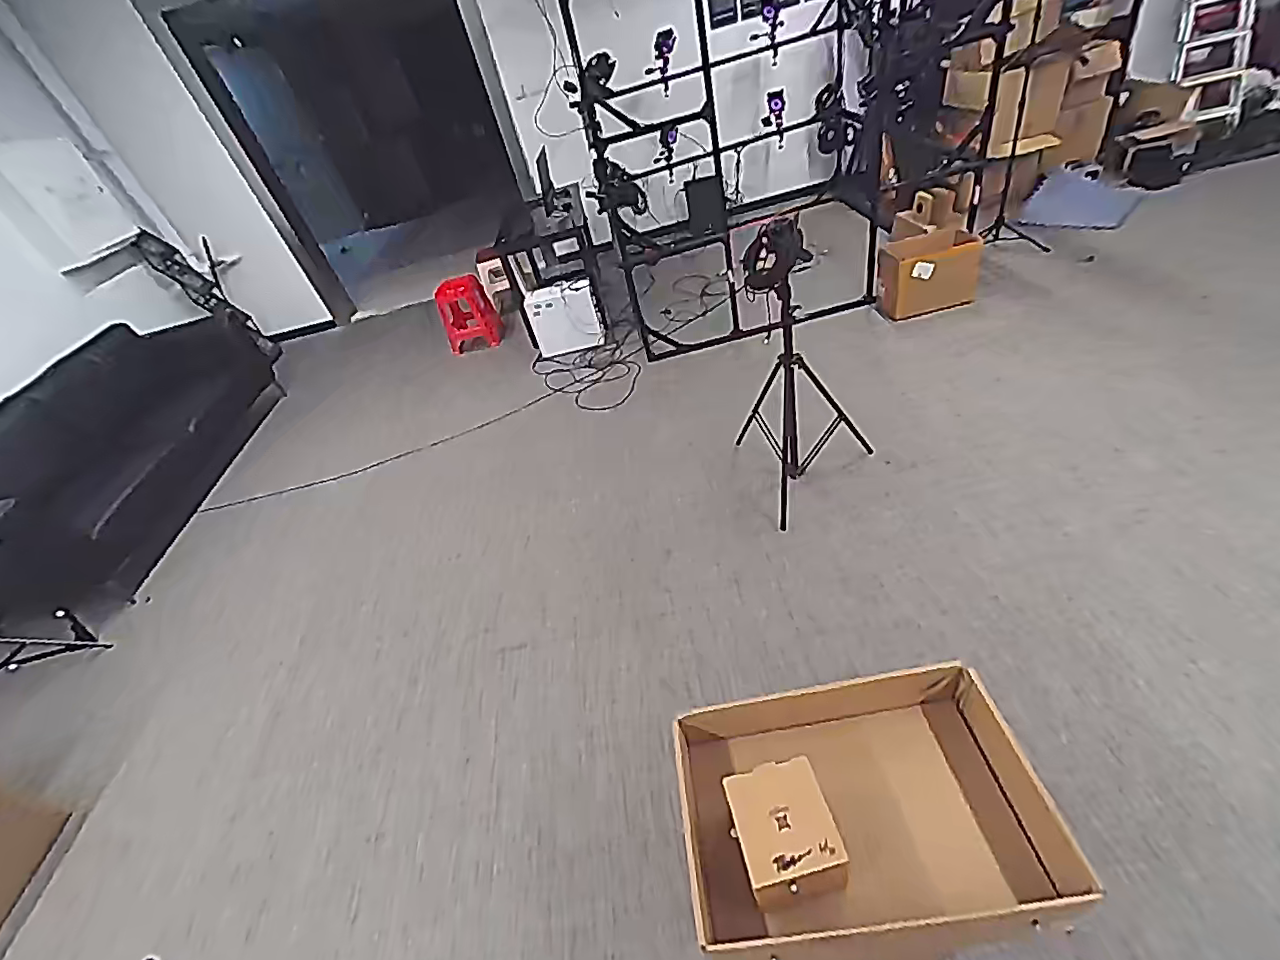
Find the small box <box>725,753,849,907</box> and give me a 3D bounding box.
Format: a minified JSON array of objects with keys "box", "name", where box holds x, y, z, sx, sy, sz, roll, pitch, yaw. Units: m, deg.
[{"box":[0.265,0.641,0.992,0.168,0.176,0.179,-17,40,1],"name":"small box"}]
